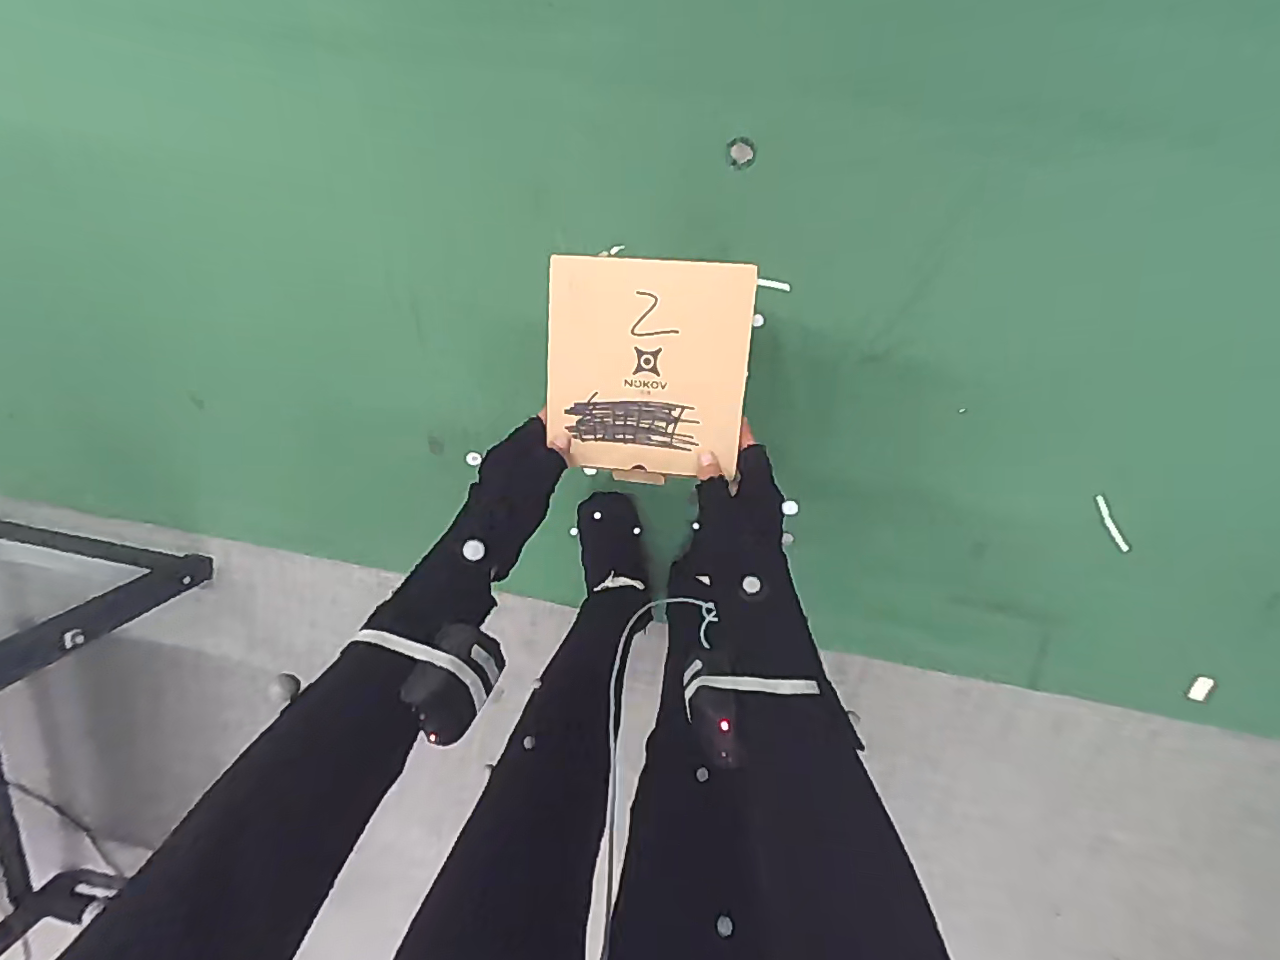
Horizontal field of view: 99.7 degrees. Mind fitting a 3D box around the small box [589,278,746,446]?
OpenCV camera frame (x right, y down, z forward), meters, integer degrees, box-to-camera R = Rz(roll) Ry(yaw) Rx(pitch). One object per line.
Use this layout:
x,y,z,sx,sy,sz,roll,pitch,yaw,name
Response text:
0.035,-0.153,0.689,0.168,0.176,0.179,6,108,5,small box
